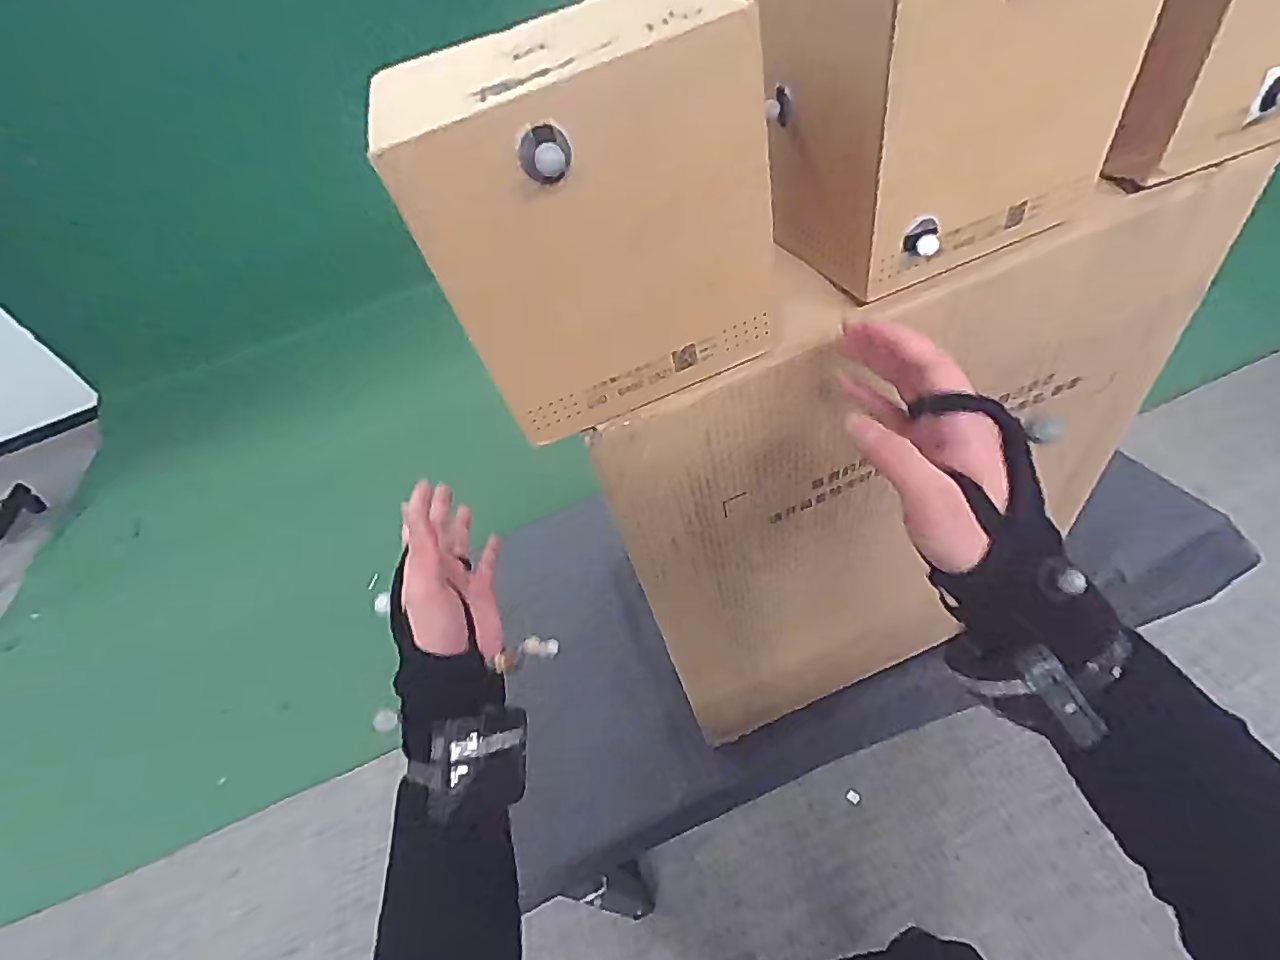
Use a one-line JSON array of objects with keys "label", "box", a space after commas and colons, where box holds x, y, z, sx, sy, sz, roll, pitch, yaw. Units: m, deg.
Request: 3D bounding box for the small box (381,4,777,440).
[{"label": "small box", "box": [-0.031, -0.156, 0.333, 0.168, 0.176, 0.179, -23, 45, -1]}]
